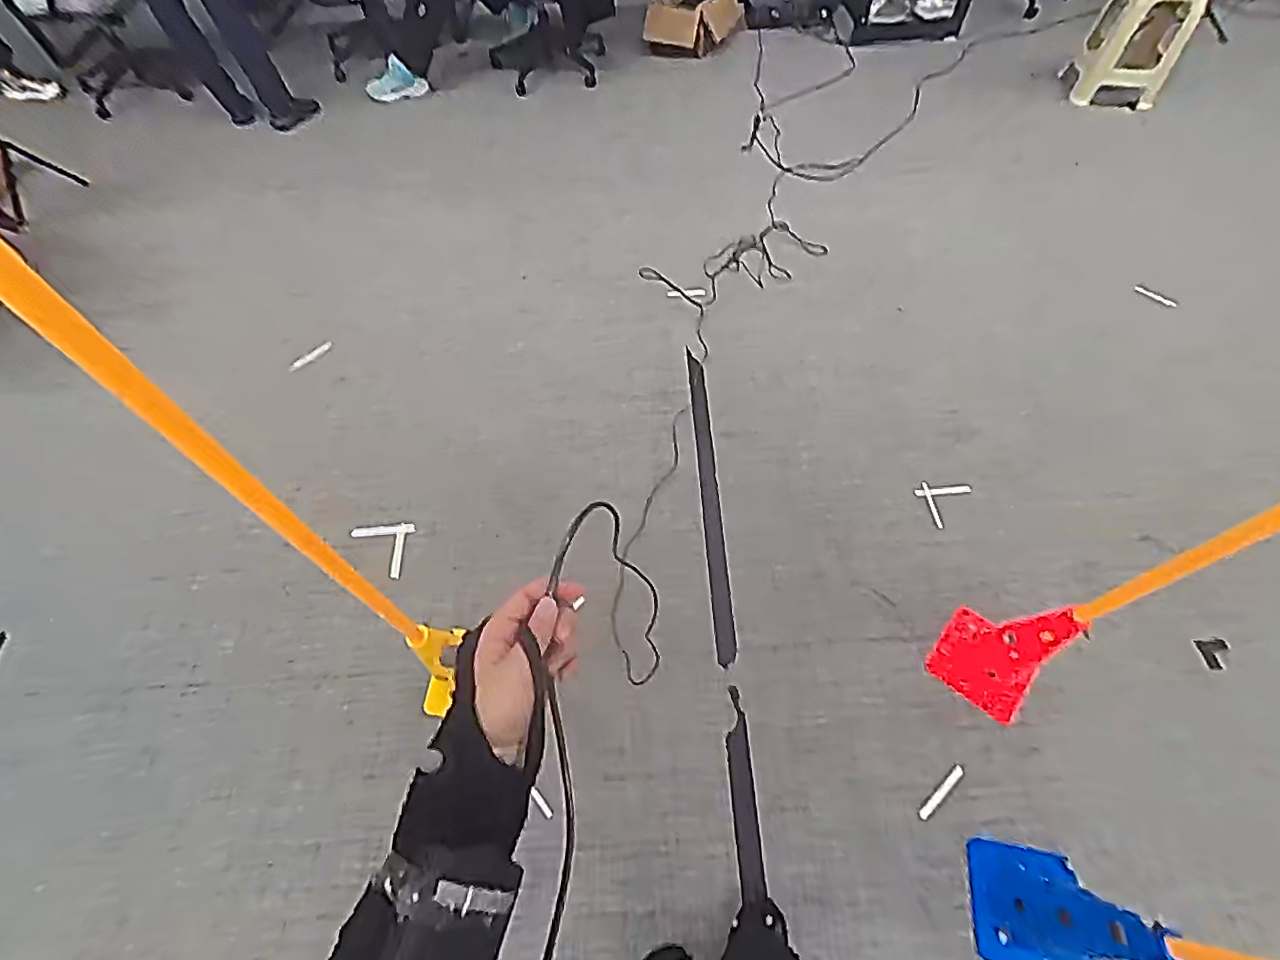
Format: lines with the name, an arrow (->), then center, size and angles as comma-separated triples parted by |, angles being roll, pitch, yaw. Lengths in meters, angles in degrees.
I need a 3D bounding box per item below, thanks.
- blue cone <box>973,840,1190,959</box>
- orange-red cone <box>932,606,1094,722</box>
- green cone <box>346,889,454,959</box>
blue cone -> 0.726, 0.712, 0.874 | 0.193, 0.380, 0.192 | 9, 58, 9
orange-red cone -> 0.787, 0.331, 1.092 | 0.198, 0.360, 0.199 | 37, 68, 24
green cone -> -0.452, 0.810, 0.857 | 0.200, 0.368, 0.202 | -15, 57, -6
